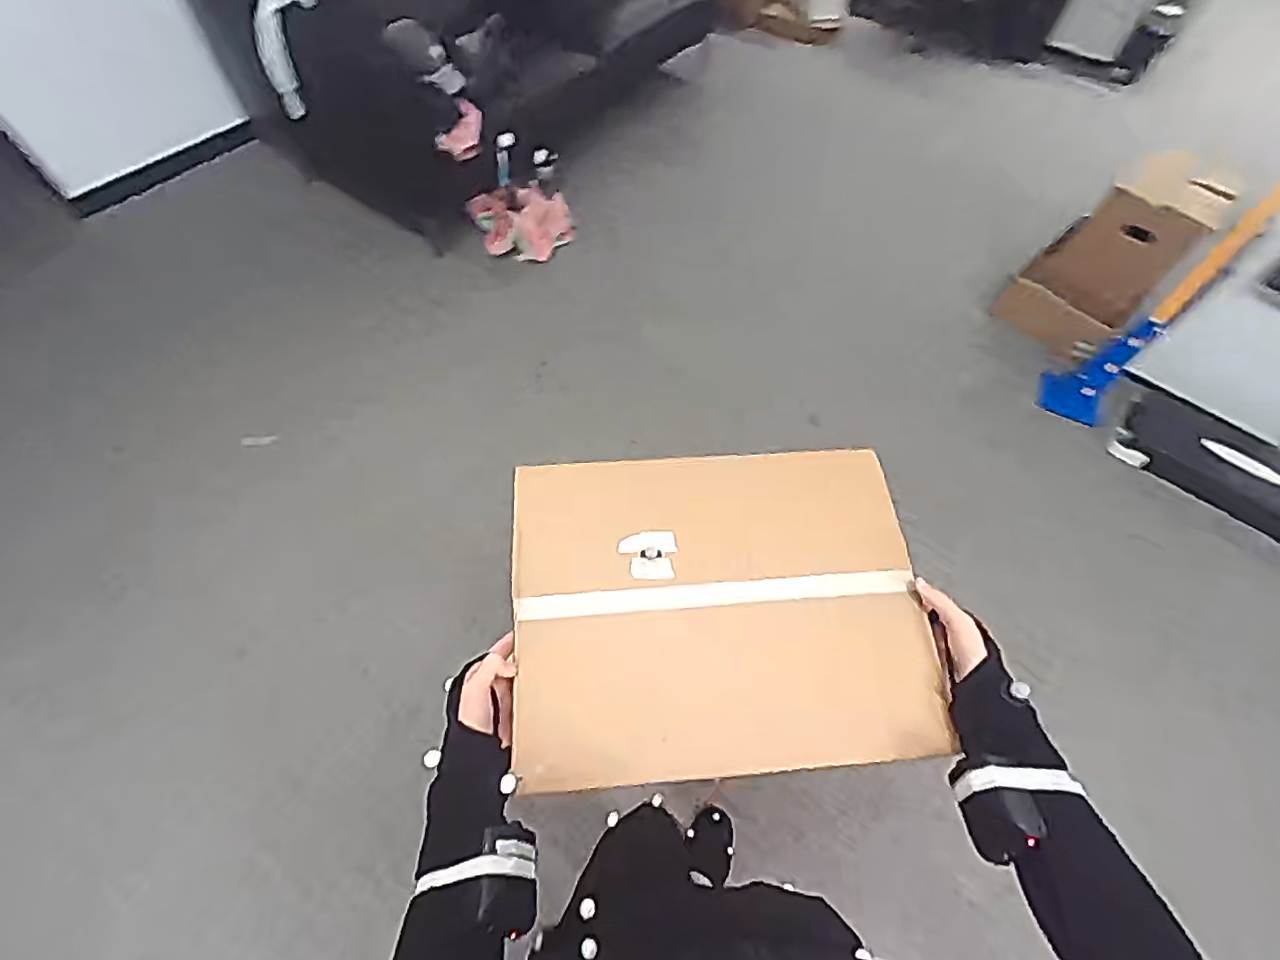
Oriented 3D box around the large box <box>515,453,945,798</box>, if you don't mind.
[{"bbox_3d":[0.072,0.185,0.686,0.408,0.320,0.320,-5,65,-4],"label":"large box"}]
